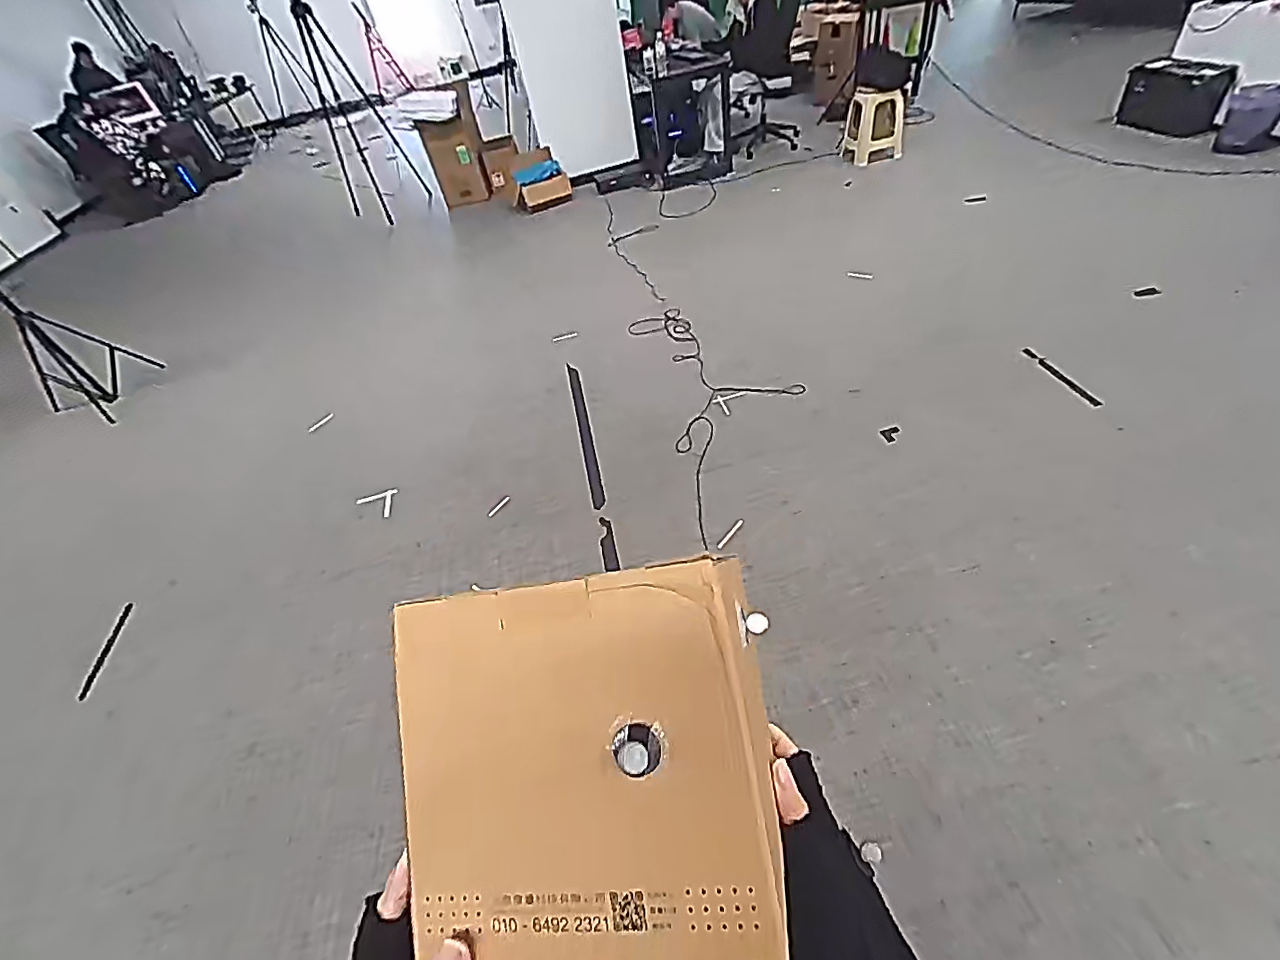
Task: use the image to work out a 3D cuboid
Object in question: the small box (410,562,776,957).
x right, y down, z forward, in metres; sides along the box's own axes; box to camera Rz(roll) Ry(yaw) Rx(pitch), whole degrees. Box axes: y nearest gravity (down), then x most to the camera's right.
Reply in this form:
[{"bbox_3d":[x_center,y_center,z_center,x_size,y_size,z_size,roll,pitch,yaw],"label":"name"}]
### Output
[{"bbox_3d":[-0.013,0.151,0.337,0.168,0.179,0.176,-11,80,12],"label":"small box"}]
